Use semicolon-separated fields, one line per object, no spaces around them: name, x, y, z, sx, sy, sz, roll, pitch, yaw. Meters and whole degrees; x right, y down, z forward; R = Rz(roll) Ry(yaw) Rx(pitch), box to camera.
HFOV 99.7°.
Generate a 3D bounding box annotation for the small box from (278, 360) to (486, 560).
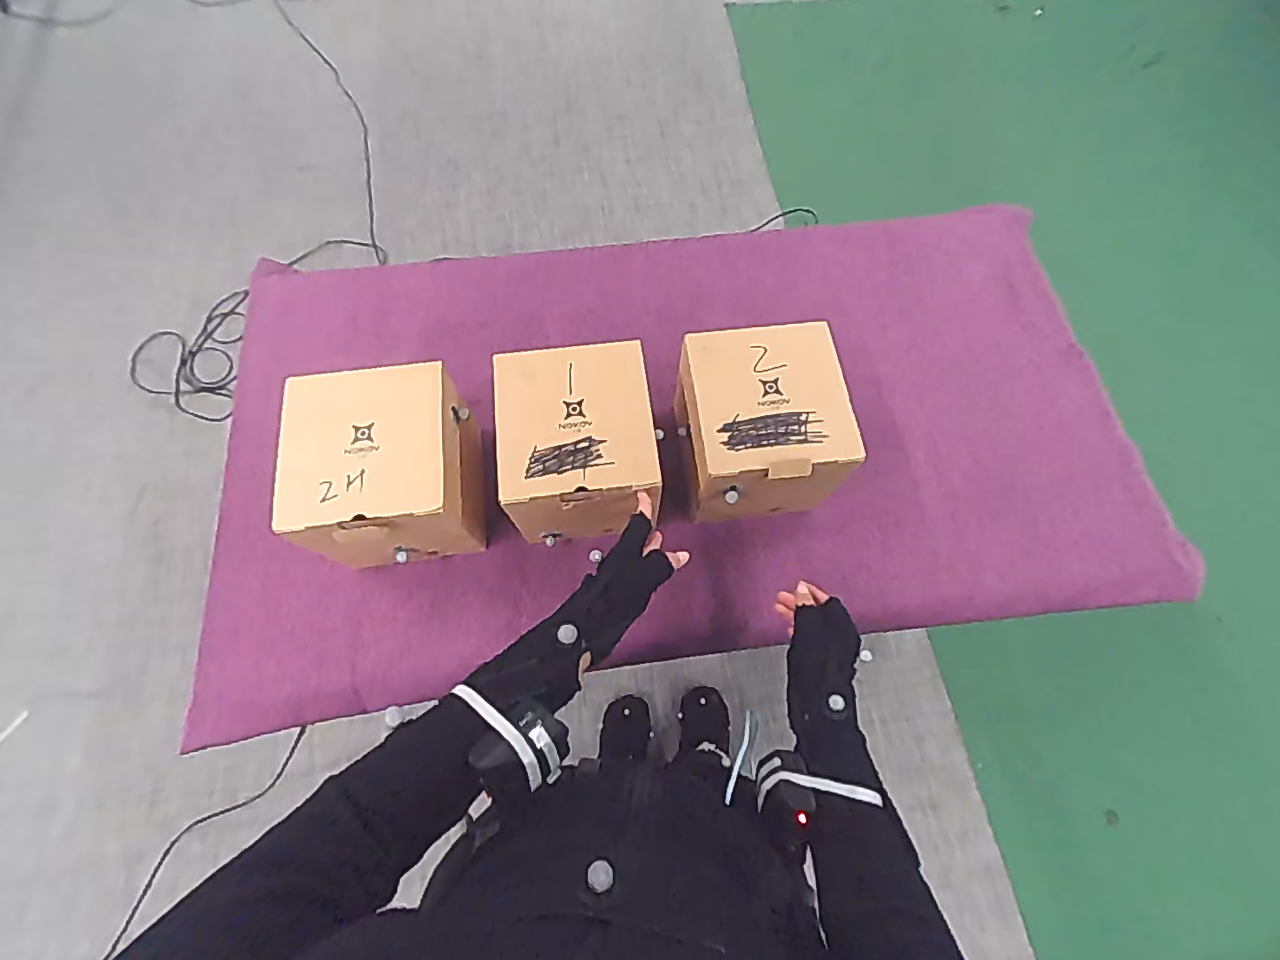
small box;-0.284;-0.015;0.634;0.168;0.176;0.179;-7;70;-3
